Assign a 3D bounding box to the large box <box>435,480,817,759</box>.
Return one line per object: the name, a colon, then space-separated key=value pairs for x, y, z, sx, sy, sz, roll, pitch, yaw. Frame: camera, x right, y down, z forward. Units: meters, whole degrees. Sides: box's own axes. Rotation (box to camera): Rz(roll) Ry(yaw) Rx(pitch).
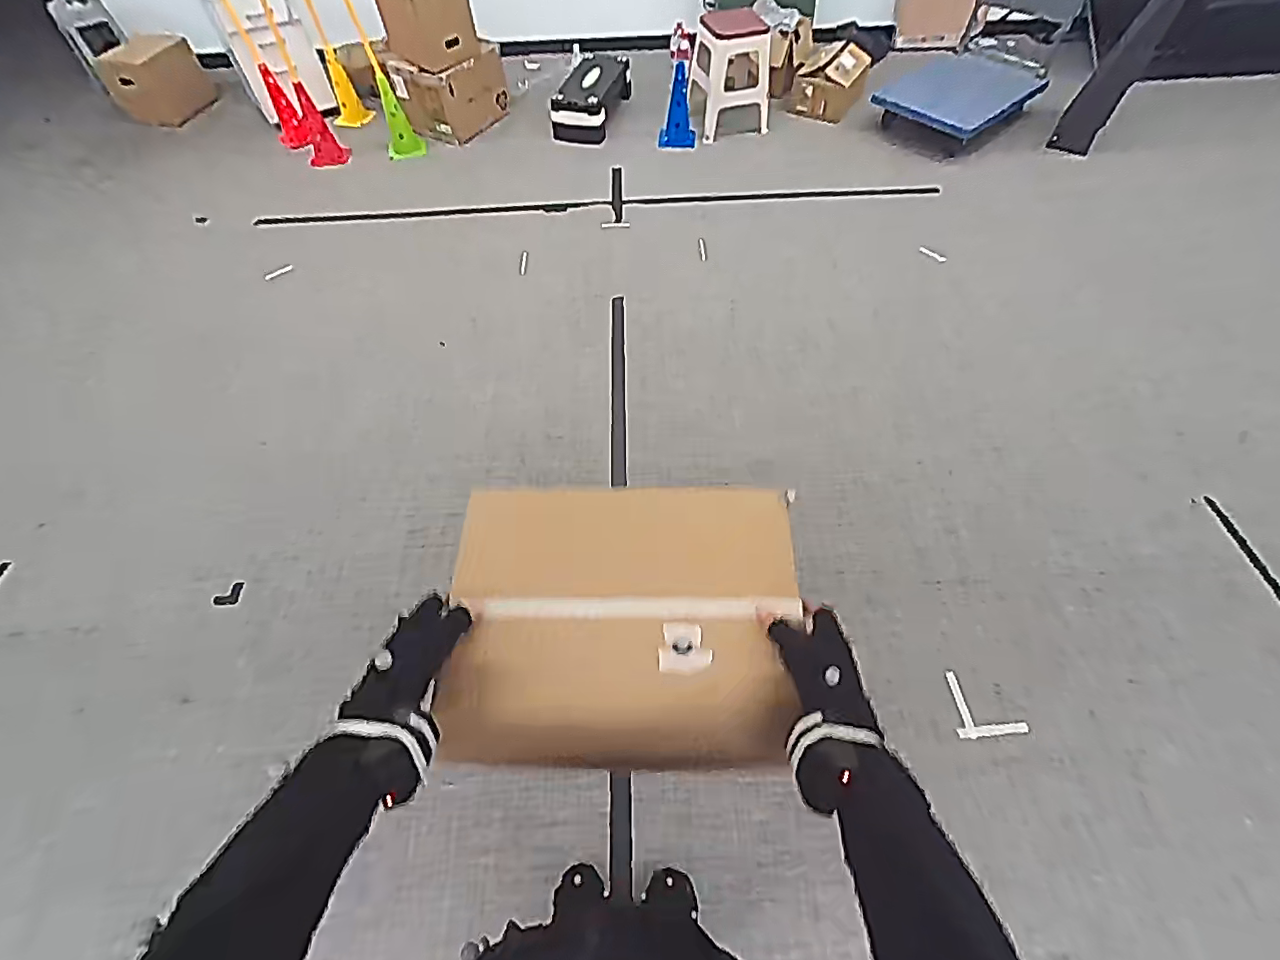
large box: x=-0.014 y=0.208 z=0.756 sx=0.408 sy=0.320 sz=0.320 roll=1 pitch=61 yaw=1
